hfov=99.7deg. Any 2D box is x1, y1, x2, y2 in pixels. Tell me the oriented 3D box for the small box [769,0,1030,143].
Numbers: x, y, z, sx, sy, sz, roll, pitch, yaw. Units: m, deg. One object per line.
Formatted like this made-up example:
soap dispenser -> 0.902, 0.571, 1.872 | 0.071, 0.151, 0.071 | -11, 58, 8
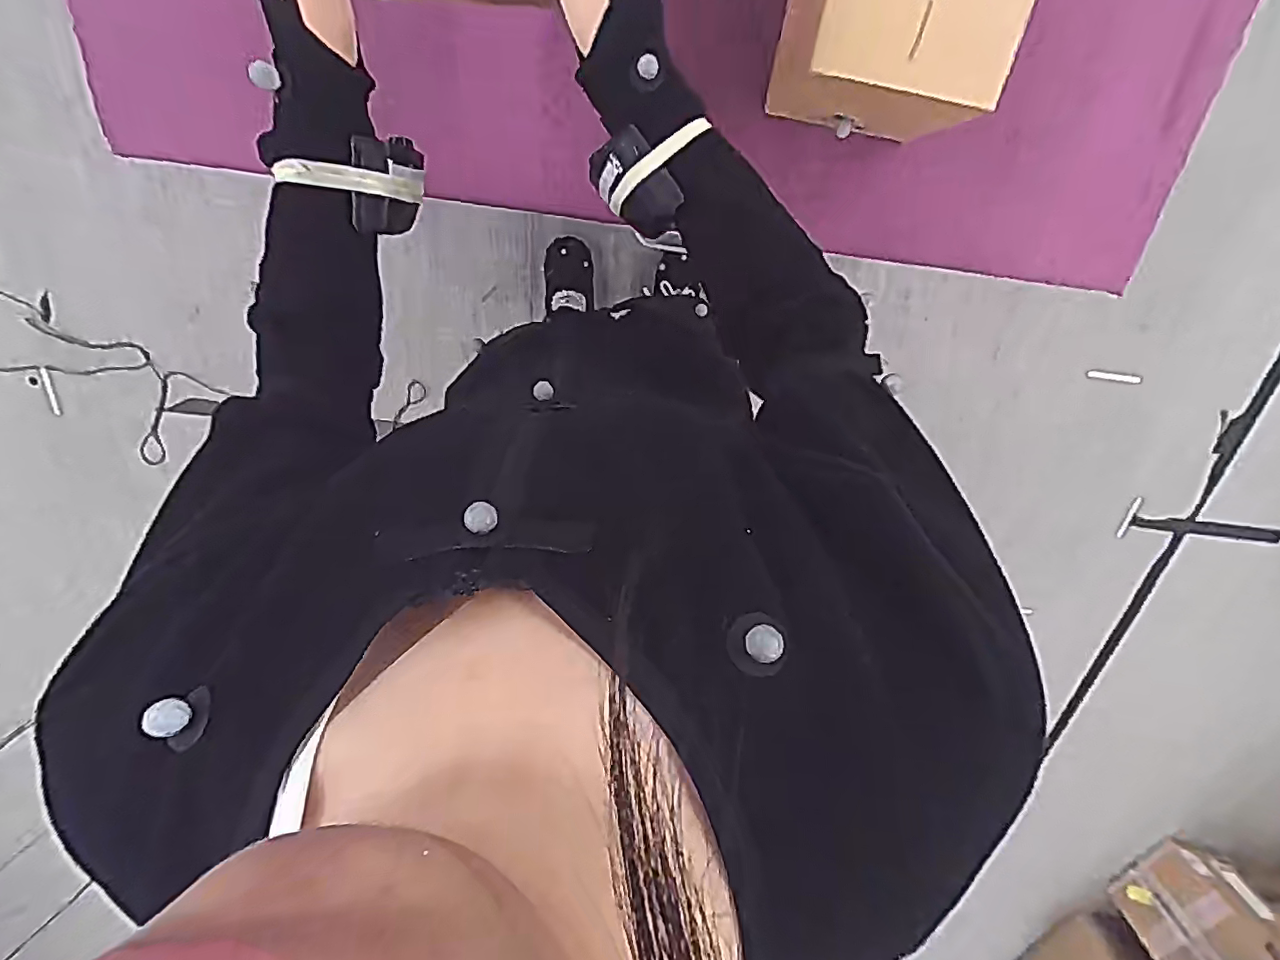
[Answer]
small box -> 0.232, -0.436, 0.497 | 0.168, 0.176, 0.179 | 9, 114, -5
